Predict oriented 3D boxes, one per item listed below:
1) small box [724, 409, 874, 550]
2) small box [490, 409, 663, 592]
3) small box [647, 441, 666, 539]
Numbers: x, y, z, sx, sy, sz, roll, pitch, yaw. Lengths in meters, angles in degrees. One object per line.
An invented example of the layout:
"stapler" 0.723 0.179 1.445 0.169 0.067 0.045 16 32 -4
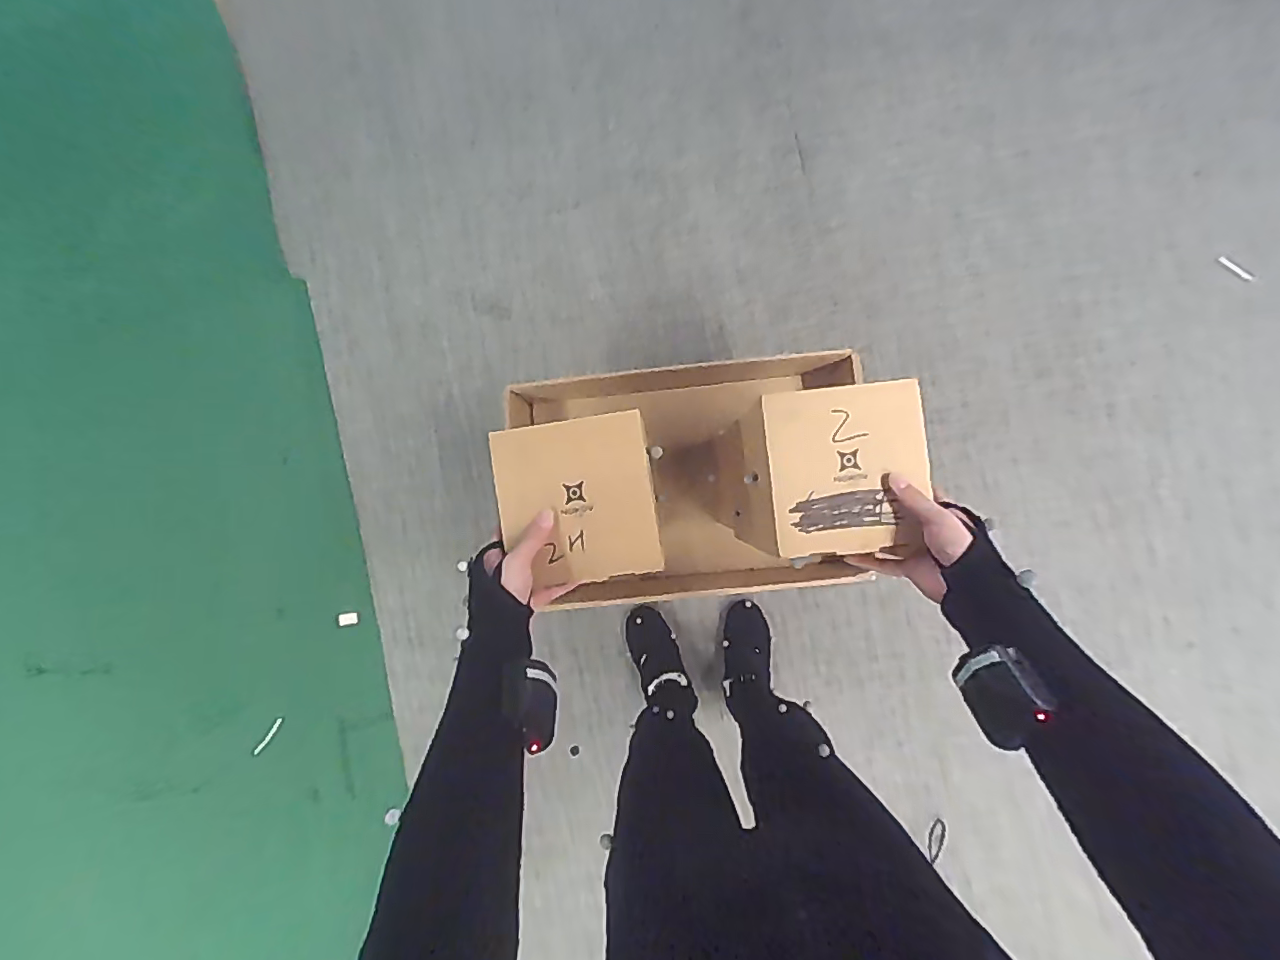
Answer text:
"small box" 0.221 0.002 0.793 0.168 0.176 0.179 -6 87 1
"small box" -0.066 0.025 0.643 0.168 0.176 0.179 -8 88 2
"small box" -0.050 0.031 0.971 0.179 0.176 0.168 -8 88 1
